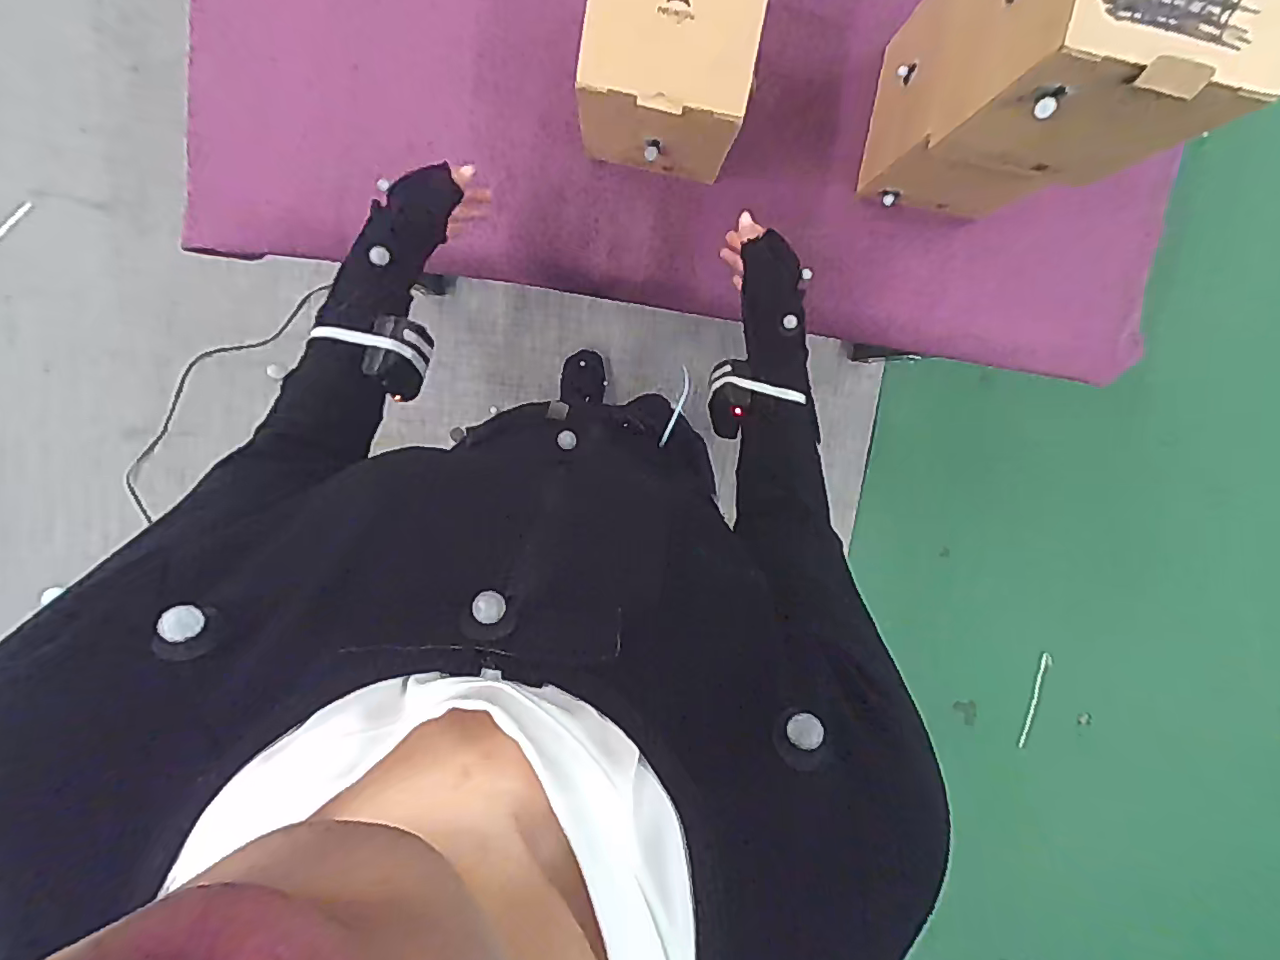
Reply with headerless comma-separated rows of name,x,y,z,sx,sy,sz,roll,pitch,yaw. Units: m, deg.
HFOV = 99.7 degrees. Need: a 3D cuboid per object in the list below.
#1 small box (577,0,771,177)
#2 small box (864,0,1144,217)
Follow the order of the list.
small box,0.034,-0.451,0.573,0.168,0.176,0.179,10,101,-5
small box,0.373,-0.413,0.592,0.168,0.176,0.179,11,100,-6
